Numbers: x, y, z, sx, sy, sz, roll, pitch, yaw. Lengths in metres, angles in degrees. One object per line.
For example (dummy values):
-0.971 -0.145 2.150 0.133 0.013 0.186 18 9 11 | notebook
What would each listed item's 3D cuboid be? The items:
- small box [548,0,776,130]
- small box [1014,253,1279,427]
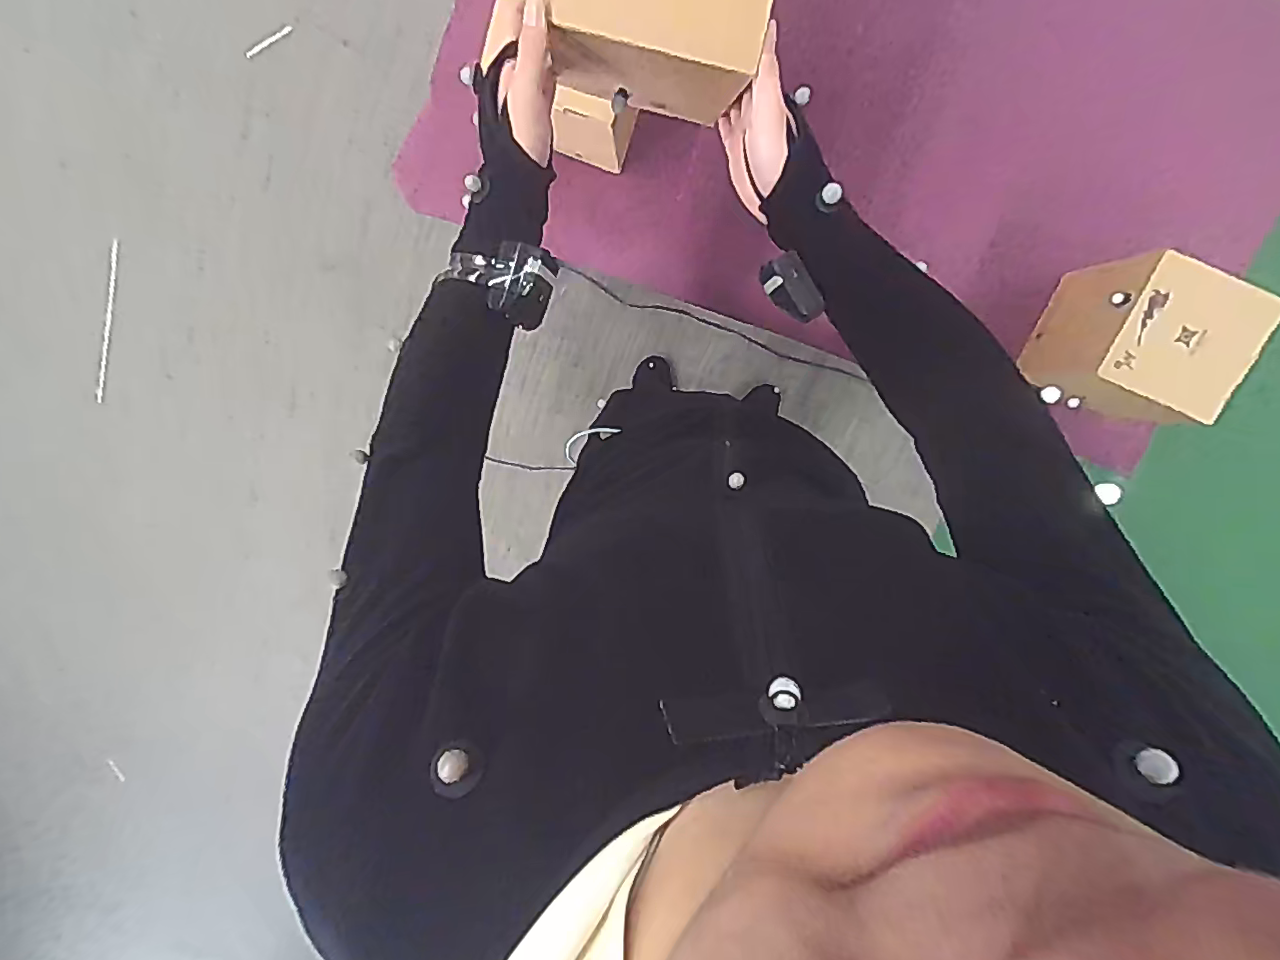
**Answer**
0.022 -0.426 0.450 0.168 0.176 0.179 9 111 -8 | small box
0.685 -0.189 0.754 0.179 0.176 0.168 22 100 -4 | small box
